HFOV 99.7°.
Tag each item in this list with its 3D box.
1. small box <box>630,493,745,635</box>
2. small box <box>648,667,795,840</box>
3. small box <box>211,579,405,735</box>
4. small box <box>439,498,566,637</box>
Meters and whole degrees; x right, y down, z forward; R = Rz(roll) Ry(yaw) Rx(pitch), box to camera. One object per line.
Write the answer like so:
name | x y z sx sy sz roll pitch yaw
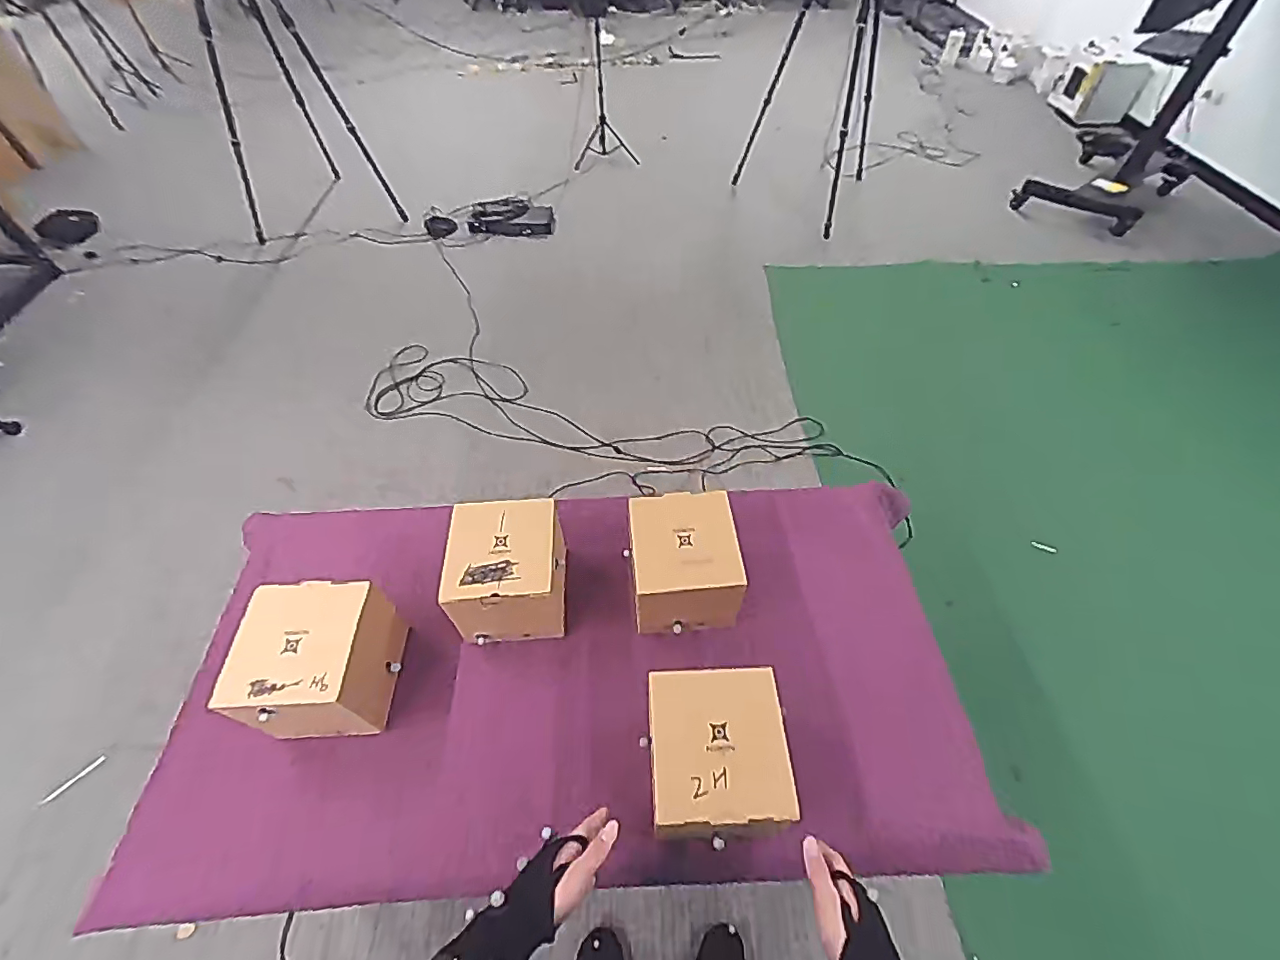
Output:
small box | 0.069 0.142 0.907 0.168 0.176 0.179 -4 53 -2
small box | 0.095 0.368 0.726 0.168 0.176 0.179 -1 51 0
small box | -0.473 0.266 0.808 0.168 0.176 0.179 -2 52 0
small box | -0.215 0.152 0.899 0.168 0.176 0.179 -3 52 -2
